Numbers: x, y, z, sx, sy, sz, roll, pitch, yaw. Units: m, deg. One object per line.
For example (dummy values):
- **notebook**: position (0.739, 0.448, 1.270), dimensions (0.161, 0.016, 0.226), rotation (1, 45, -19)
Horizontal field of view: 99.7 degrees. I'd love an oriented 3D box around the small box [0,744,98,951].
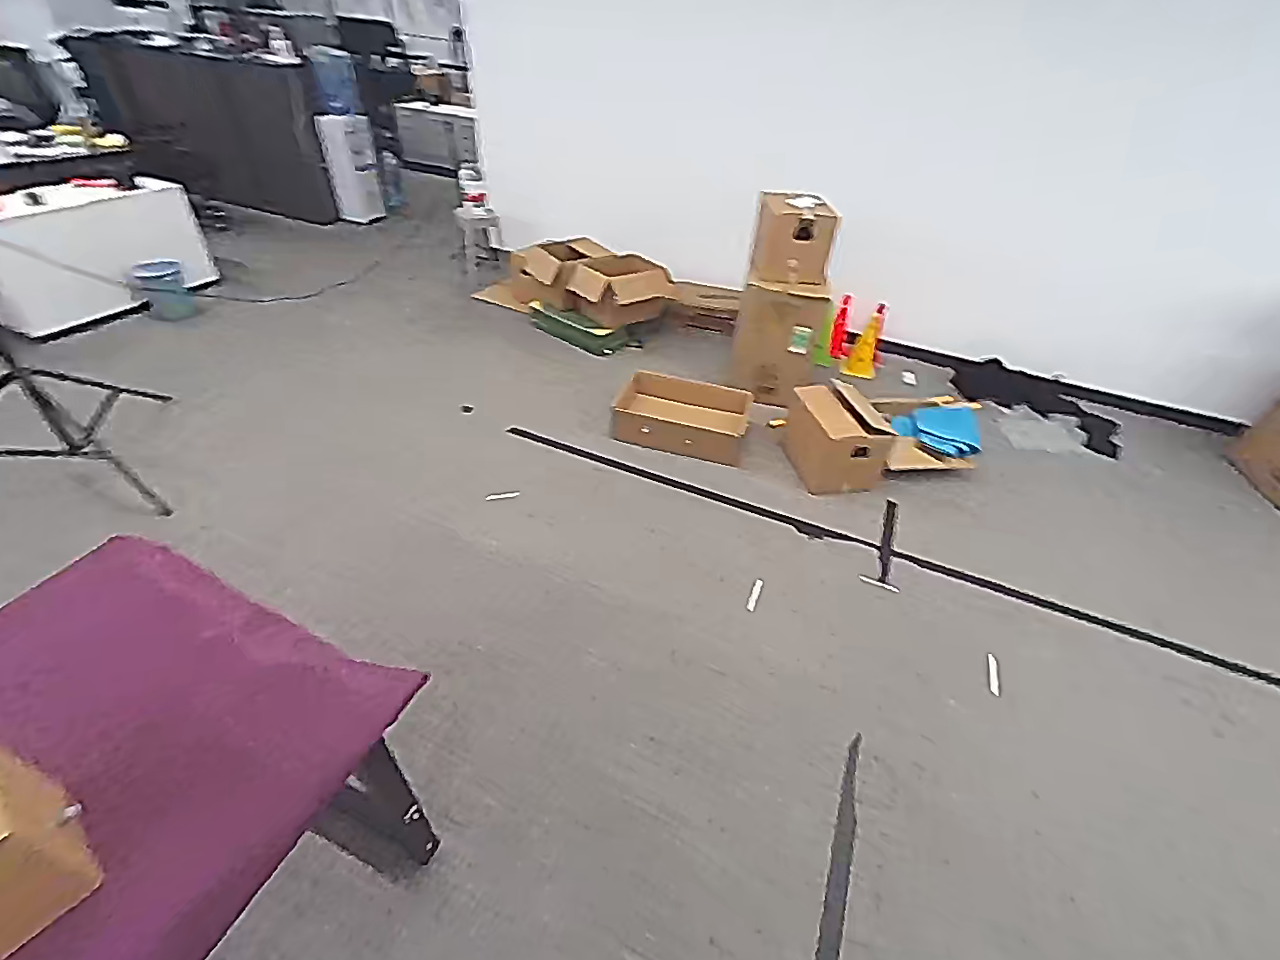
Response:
- **small box**: position (-0.740, 0.410, 0.563), dimensions (0.168, 0.176, 0.179), rotation (28, 45, 27)
